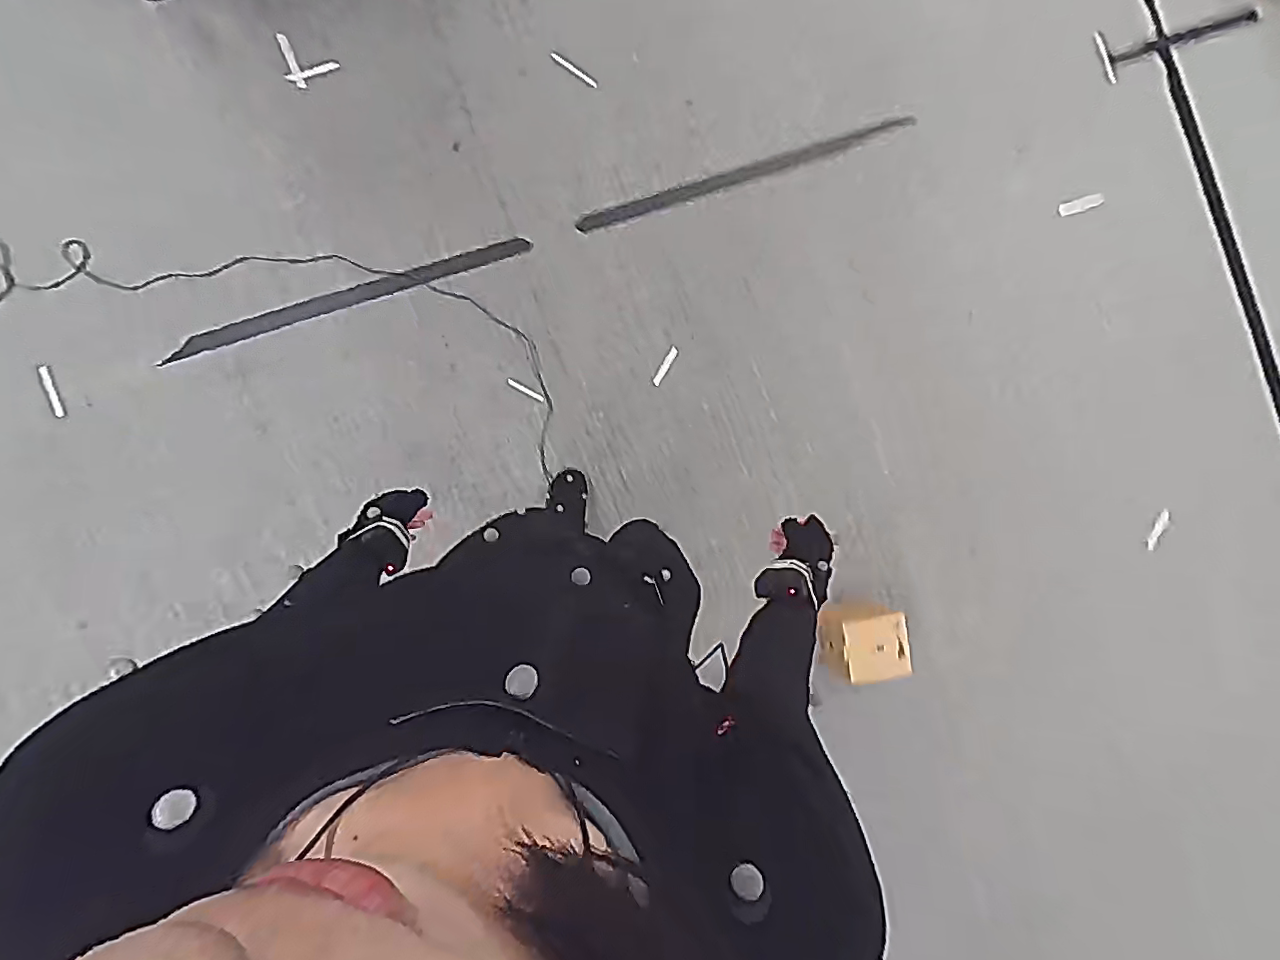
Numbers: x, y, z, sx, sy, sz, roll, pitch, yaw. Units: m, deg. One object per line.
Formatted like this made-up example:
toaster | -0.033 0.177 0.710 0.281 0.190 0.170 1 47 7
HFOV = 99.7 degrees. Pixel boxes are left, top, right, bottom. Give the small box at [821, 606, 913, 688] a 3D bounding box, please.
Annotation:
small box | 0.615 0.453 1.488 0.179 0.176 0.168 -7 90 -4
